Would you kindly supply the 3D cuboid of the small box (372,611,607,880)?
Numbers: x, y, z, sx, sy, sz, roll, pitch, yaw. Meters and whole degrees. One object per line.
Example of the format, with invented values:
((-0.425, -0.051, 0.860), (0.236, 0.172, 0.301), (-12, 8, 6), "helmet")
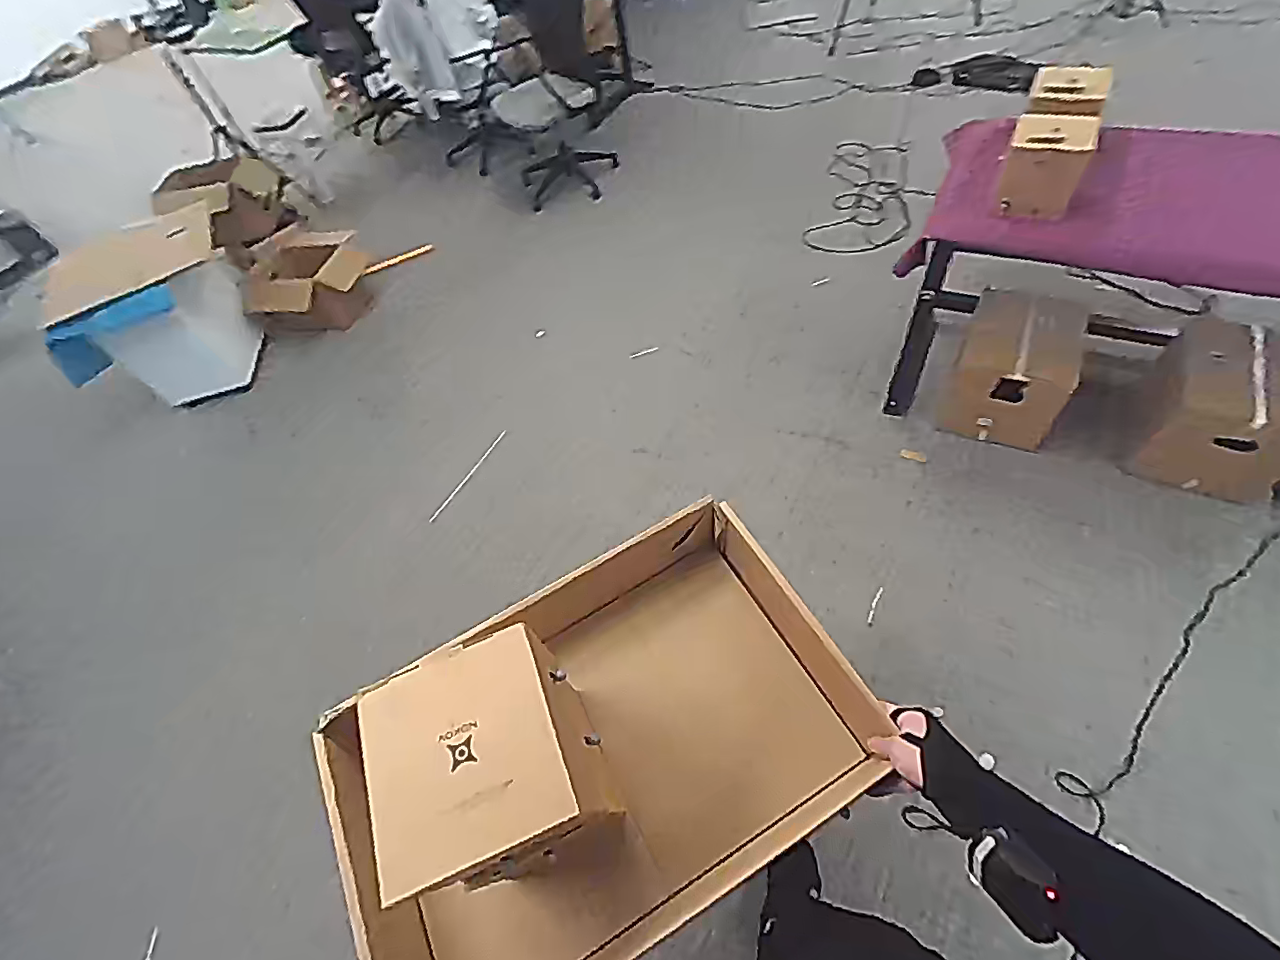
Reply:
((-0.142, 0.263, 0.544), (0.168, 0.176, 0.179), (-20, 60, -7), "small box")

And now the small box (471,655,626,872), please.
((-0.128, 0.353, 0.680), (0.168, 0.176, 0.179), (-24, 60, -10), "small box")

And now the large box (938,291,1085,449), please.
((1.245, -0.373, 1.833), (0.320, 0.320, 0.408), (19, 59, 22), "large box")

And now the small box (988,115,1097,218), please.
((0.996, -0.781, 1.350), (0.168, 0.176, 0.179), (19, 59, 23), "small box")
